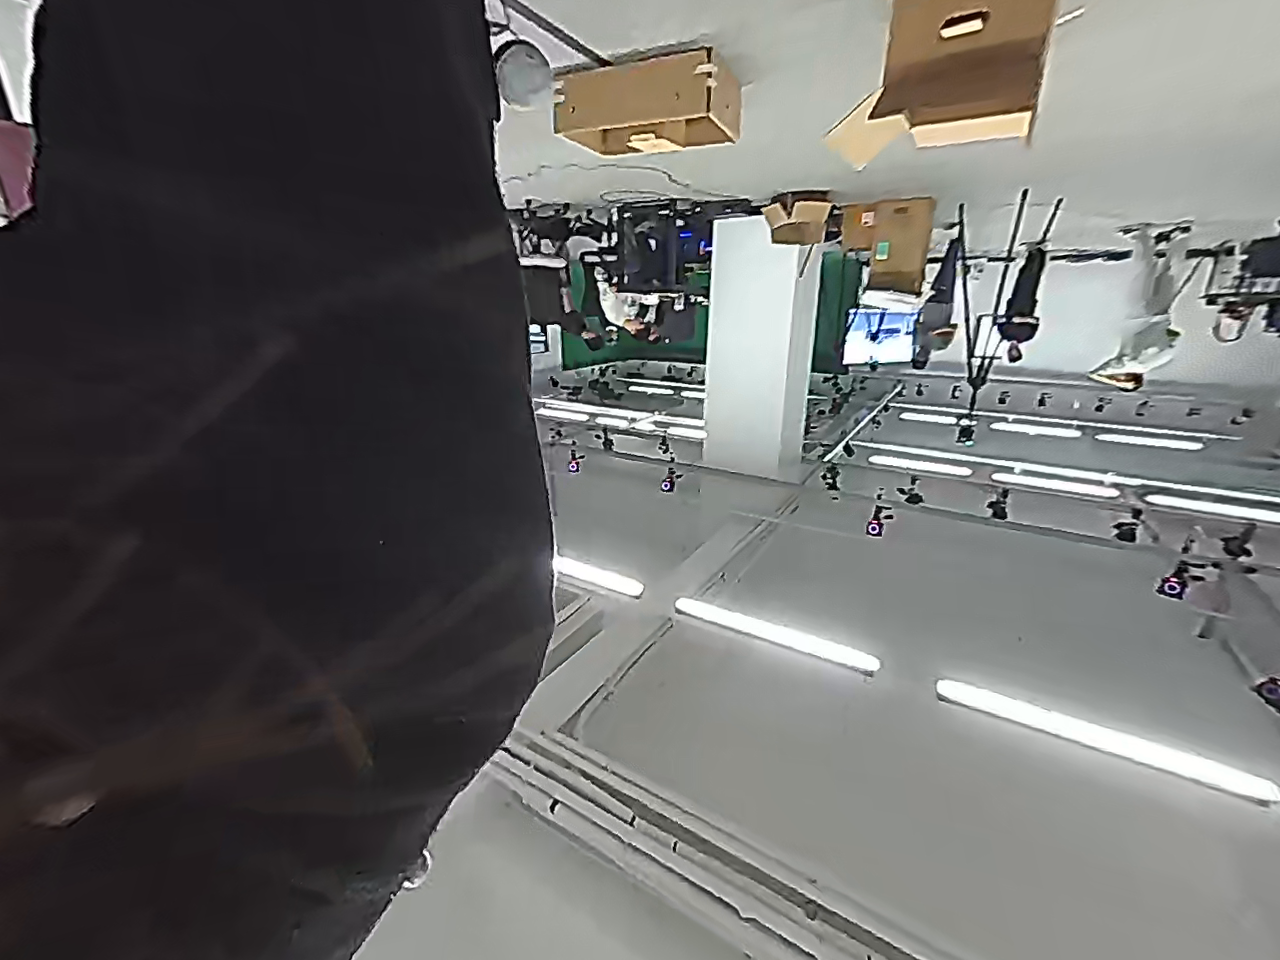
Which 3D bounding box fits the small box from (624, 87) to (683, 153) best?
[{"bbox_3d":[0.050,-1.344,2.018,0.168,0.176,0.179,12,-157,28],"label":"small box"}]
